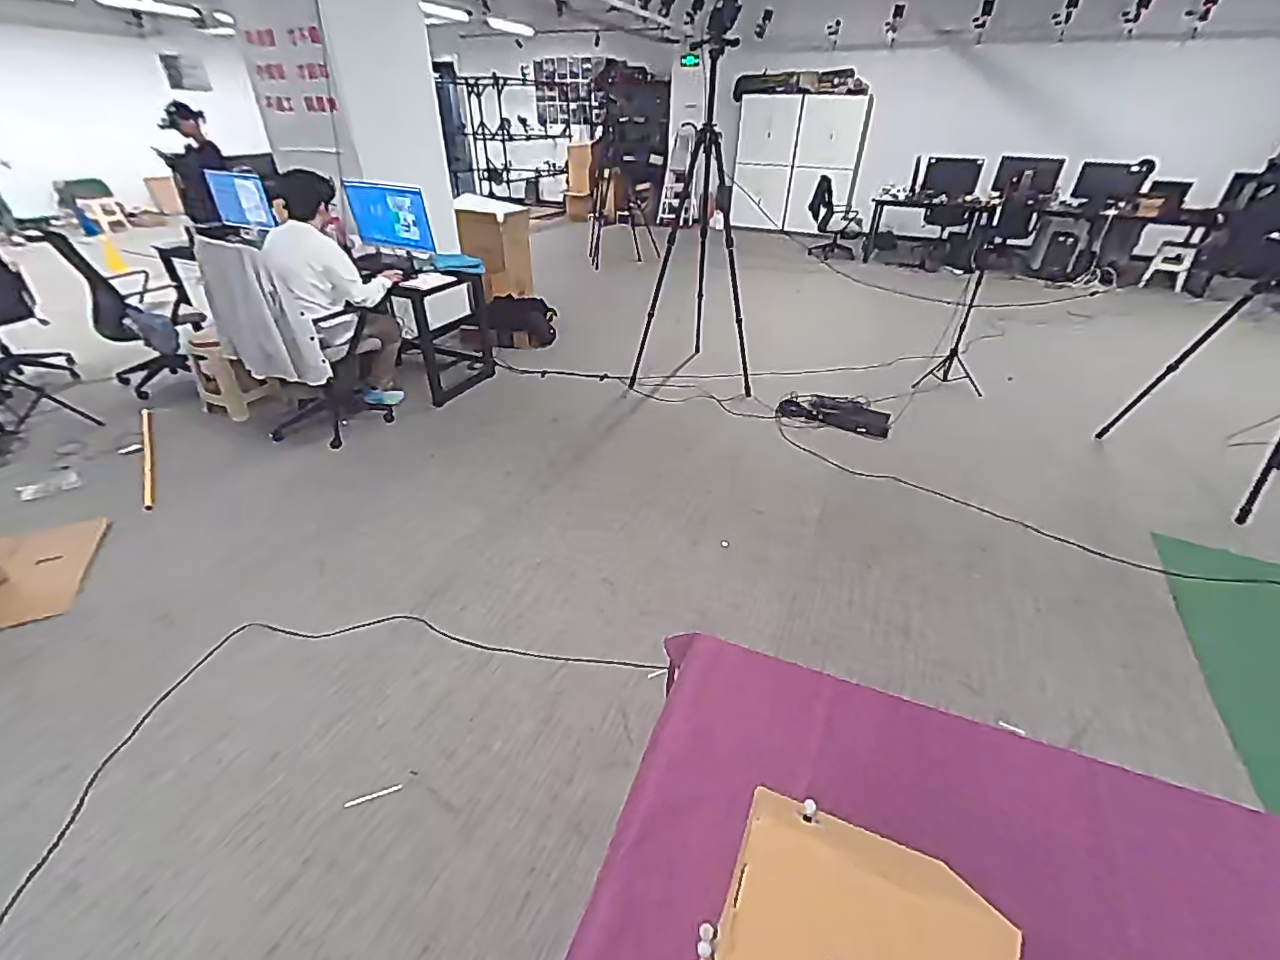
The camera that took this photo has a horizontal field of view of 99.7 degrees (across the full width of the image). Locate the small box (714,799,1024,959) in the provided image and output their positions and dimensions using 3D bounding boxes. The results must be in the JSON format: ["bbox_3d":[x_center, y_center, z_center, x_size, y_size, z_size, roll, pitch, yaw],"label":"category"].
[{"bbox_3d":[0.153,0.370,0.416,0.179,0.176,0.168,15,72,18],"label":"small box"}]
